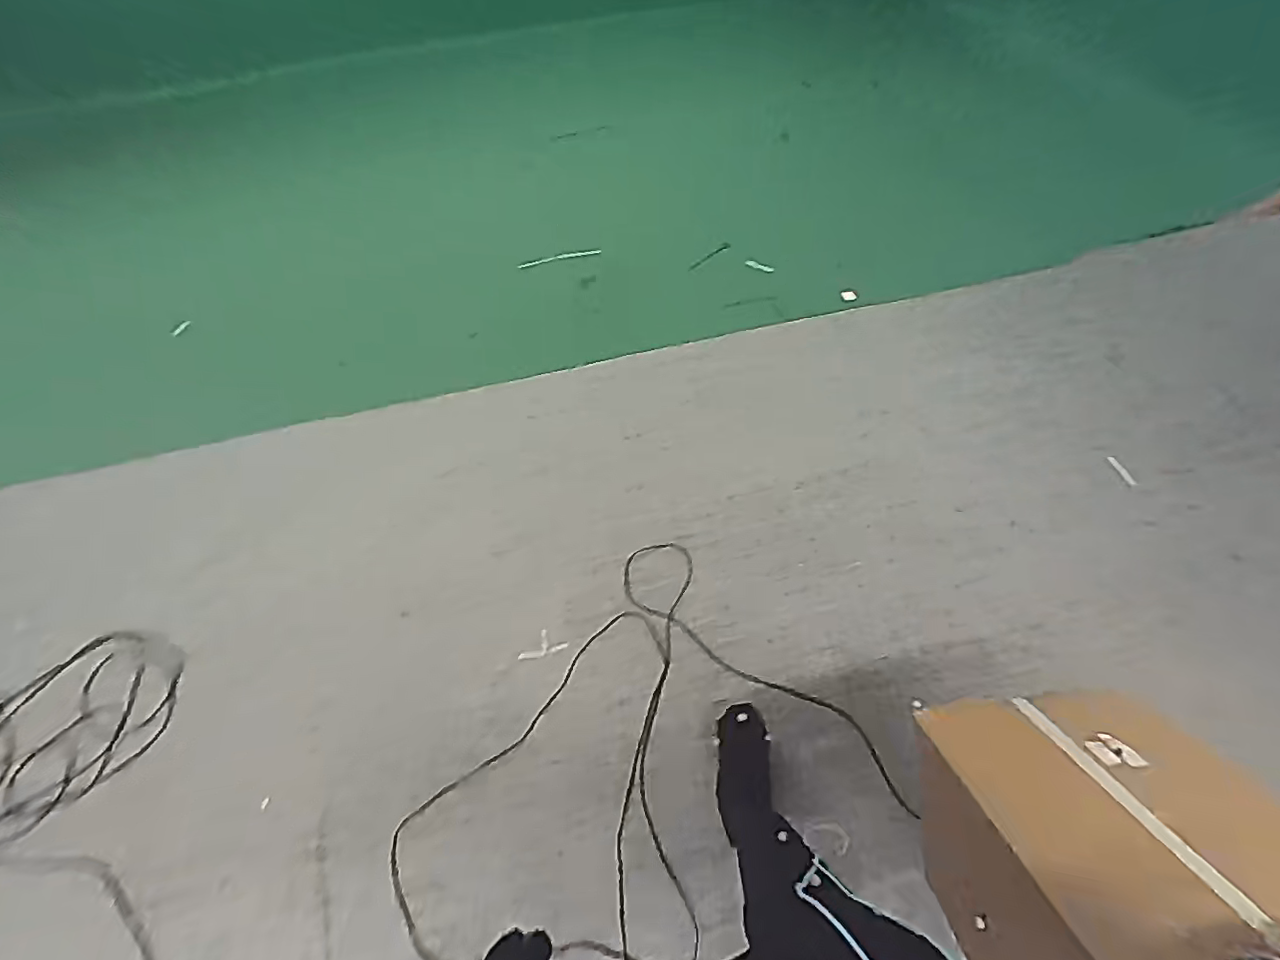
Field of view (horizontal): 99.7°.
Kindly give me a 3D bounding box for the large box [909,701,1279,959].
[{"bbox_3d":[0.598,0.546,0.688,0.320,0.408,0.320,-7,98,4],"label":"large box"}]
